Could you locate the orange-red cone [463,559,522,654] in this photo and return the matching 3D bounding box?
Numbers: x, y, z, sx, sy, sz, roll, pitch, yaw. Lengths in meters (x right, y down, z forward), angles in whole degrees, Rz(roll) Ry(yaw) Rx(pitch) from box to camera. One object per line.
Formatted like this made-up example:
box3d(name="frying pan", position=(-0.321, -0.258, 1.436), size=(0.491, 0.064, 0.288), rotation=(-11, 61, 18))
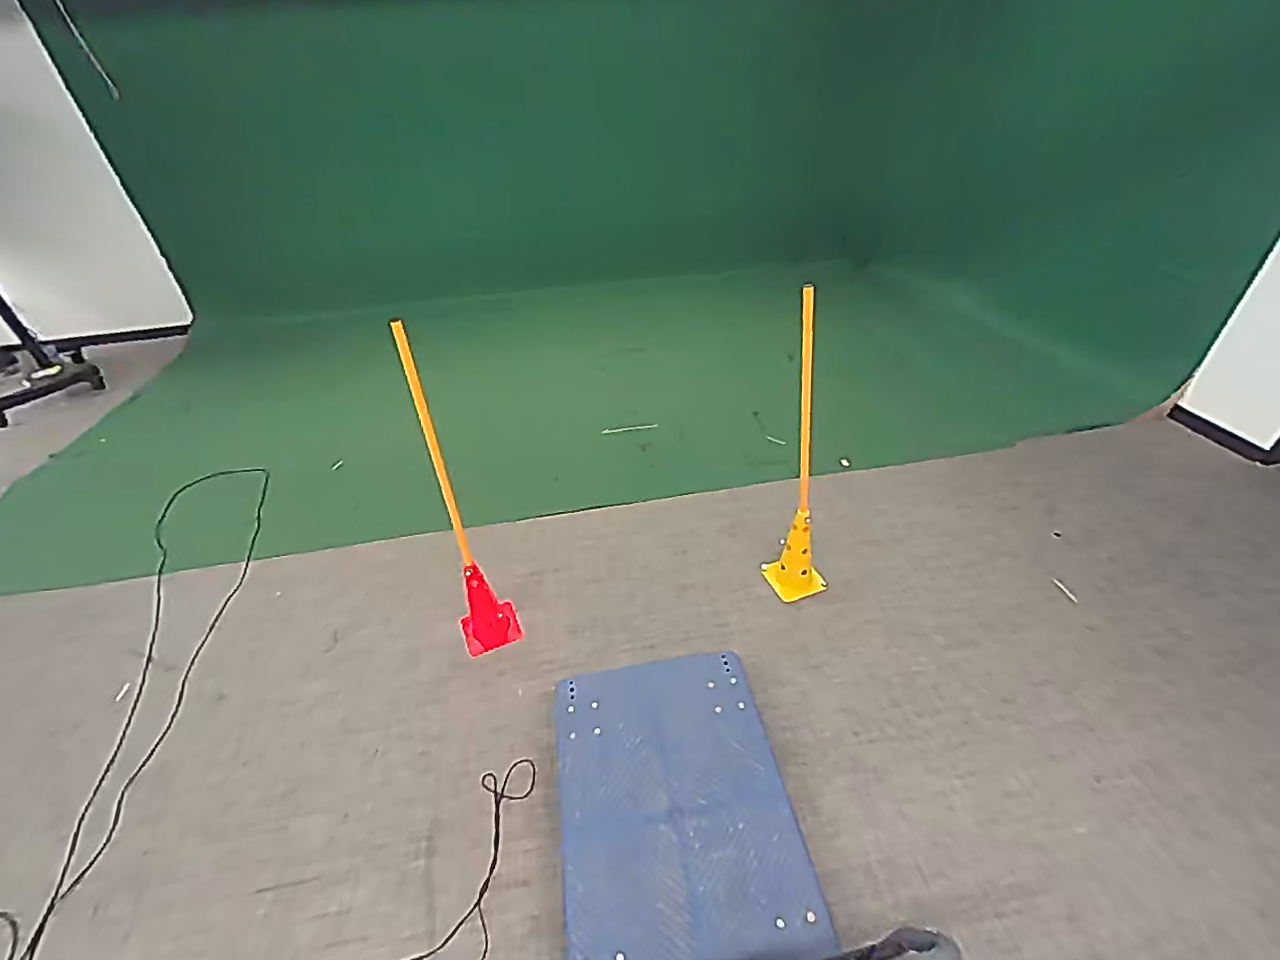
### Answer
box3d(name="orange-red cone", position=(-0.568, 0.417, 1.925), size=(0.199, 0.360, 0.198), rotation=(-19, 40, -16))
